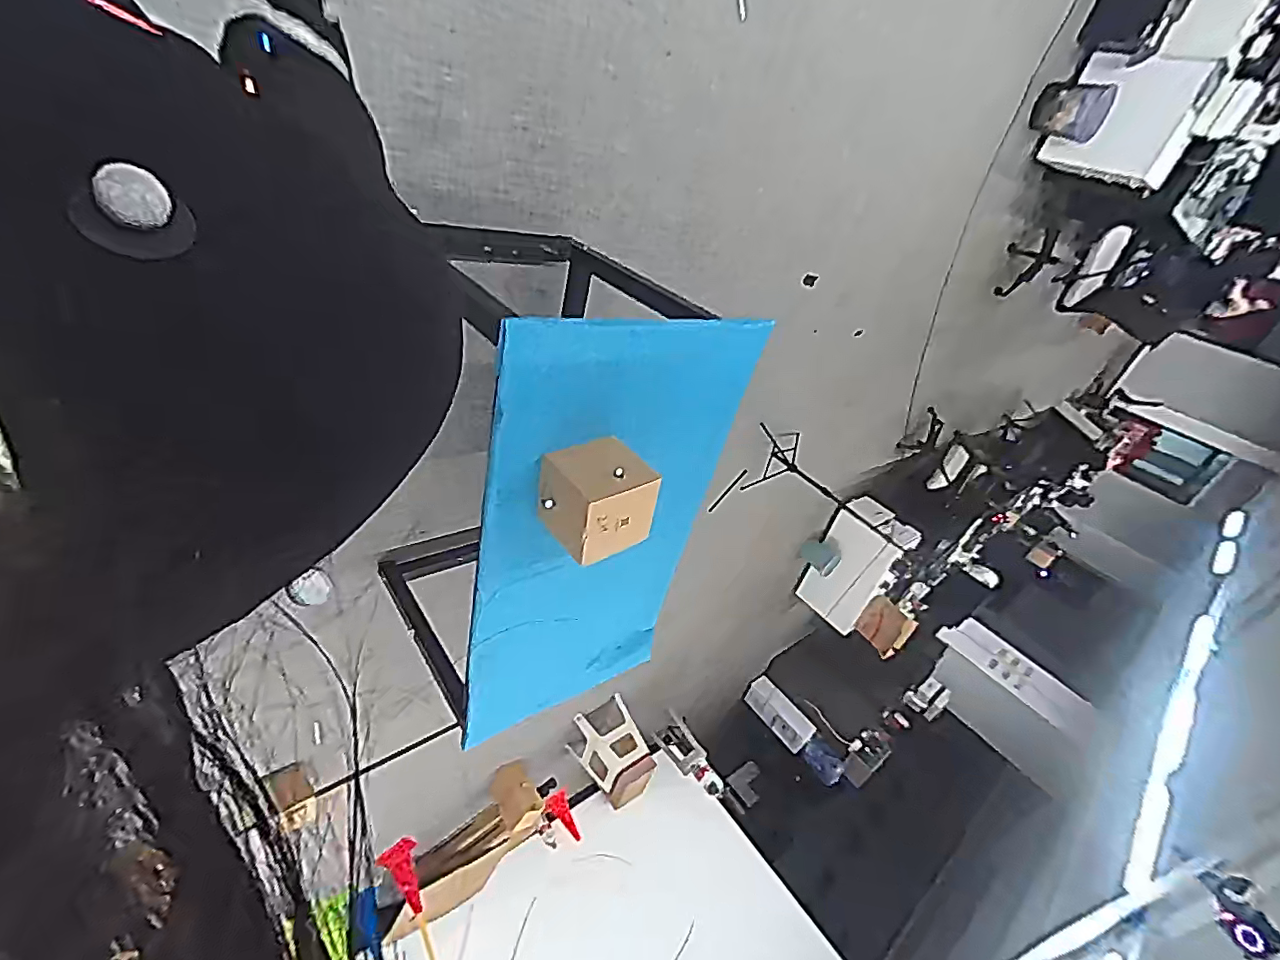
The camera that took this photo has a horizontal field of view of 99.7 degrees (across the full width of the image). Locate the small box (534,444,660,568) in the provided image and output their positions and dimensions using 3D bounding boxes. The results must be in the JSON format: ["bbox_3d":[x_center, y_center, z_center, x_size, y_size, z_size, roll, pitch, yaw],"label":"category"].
[{"bbox_3d":[-0.091,0.043,1.093,0.179,0.176,0.168,-14,132,-36],"label":"small box"}]

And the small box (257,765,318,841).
[{"bbox_3d":[-1.400,1.274,2.149,0.168,0.176,0.179,-15,134,-38],"label":"small box"}]

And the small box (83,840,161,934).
[{"bbox_3d":[-1.784,1.389,1.861,0.179,0.176,0.168,6,120,-47],"label":"small box"}]

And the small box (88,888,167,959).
[{"bbox_3d":[-1.690,1.502,1.781,0.179,0.176,0.168,3,121,-46],"label":"small box"}]
